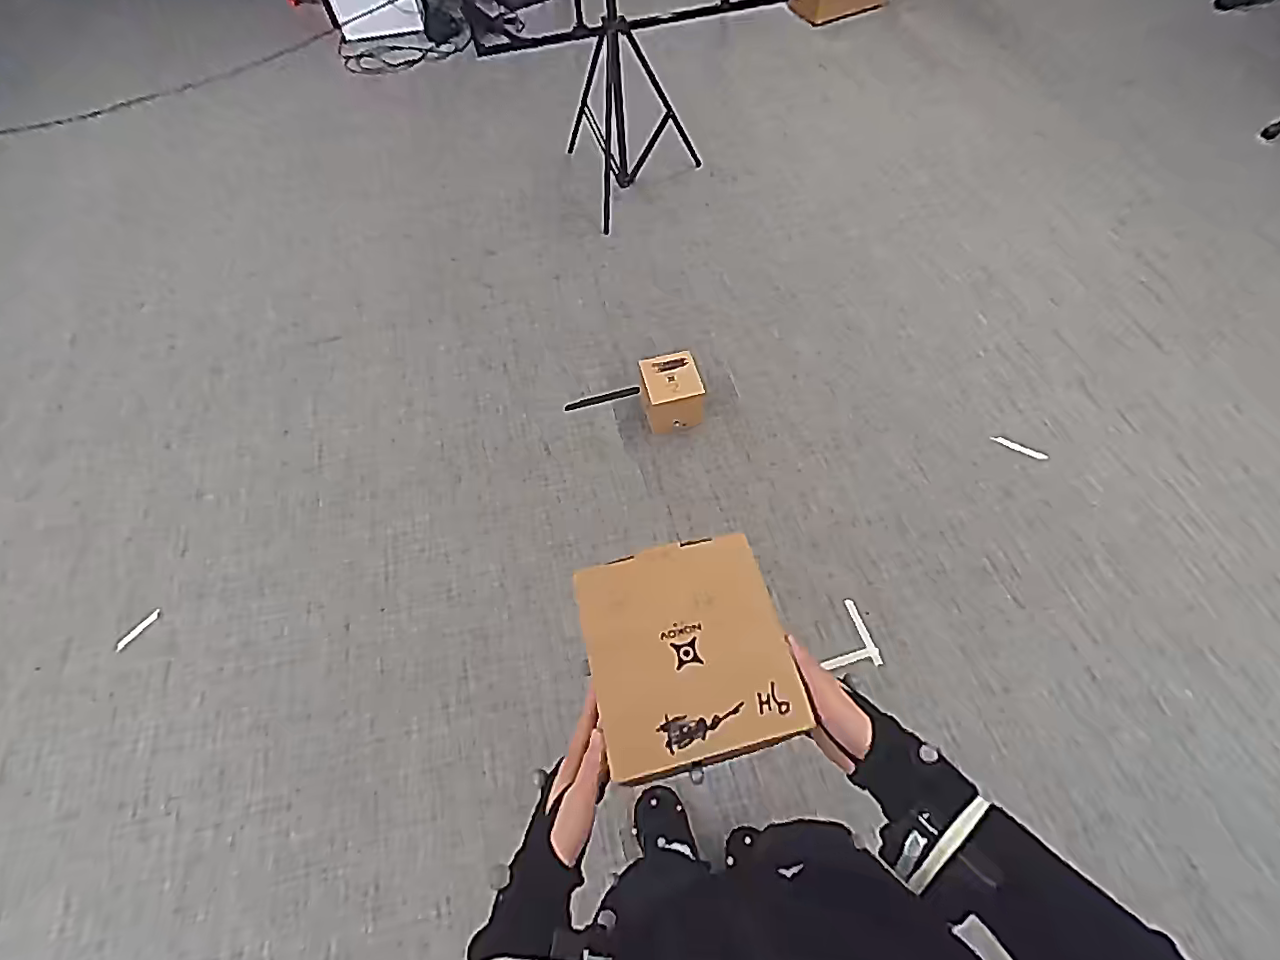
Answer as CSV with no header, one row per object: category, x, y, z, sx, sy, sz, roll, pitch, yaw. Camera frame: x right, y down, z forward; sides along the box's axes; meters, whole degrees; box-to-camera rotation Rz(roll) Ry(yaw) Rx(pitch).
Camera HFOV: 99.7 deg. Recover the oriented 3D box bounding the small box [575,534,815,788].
small box,0.040,0.179,0.521,0.168,0.176,0.179,-13,60,-6
